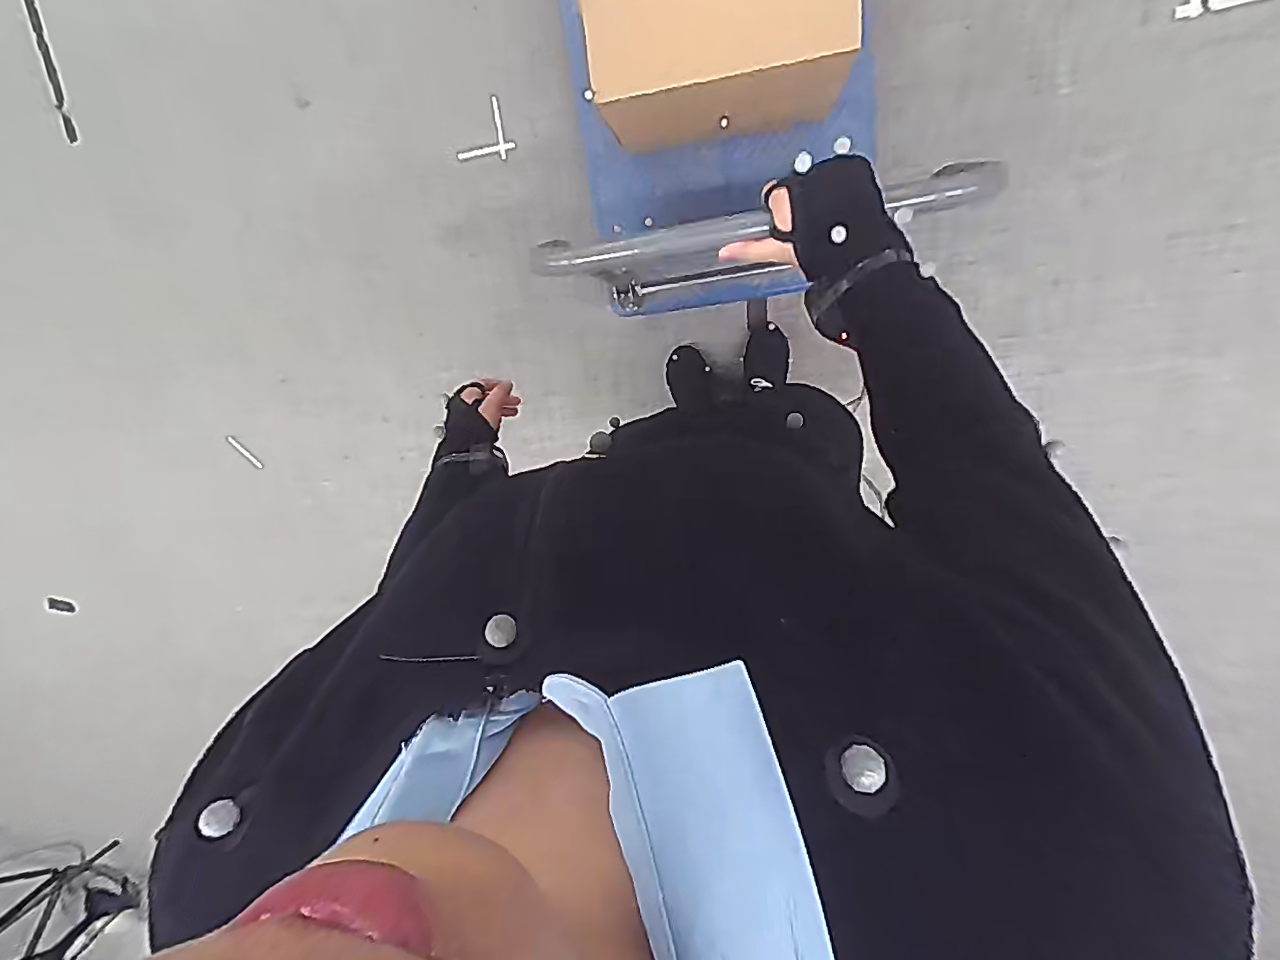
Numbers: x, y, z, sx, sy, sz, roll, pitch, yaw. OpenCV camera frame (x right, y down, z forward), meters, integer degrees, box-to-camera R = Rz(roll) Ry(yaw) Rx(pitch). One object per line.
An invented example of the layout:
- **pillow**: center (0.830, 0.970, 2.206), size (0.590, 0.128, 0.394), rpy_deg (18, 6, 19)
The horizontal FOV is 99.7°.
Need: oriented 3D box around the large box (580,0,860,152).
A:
- **large box**: center (0.127, -0.799, 0.909), size (0.408, 0.320, 0.320), rpy_deg (-4, 105, 12)
